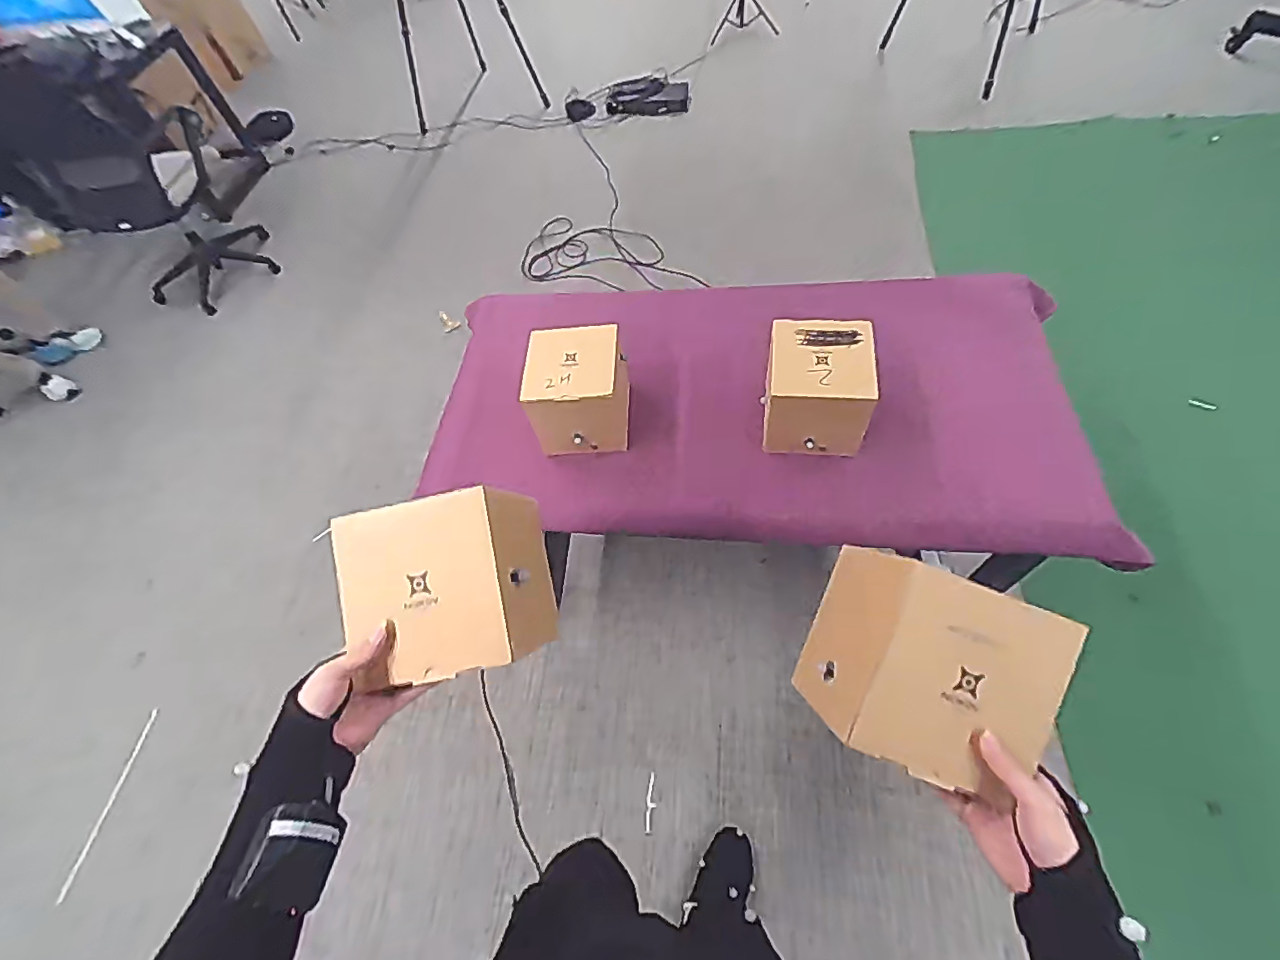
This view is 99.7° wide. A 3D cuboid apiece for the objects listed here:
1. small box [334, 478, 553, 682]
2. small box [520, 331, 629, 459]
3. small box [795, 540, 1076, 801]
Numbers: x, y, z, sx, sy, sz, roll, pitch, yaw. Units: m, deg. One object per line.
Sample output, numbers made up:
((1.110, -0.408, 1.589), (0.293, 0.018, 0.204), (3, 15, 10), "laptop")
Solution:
((-0.208, 0.107, 0.611), (0.168, 0.176, 0.179), (-12, 83, 5), "small box")
((-0.115, -0.159, 1.036), (0.168, 0.176, 0.179), (-3, 57, 7), "small box")
((0.277, 0.173, 0.552), (0.168, 0.176, 0.179), (22, 87, 1), "small box")
